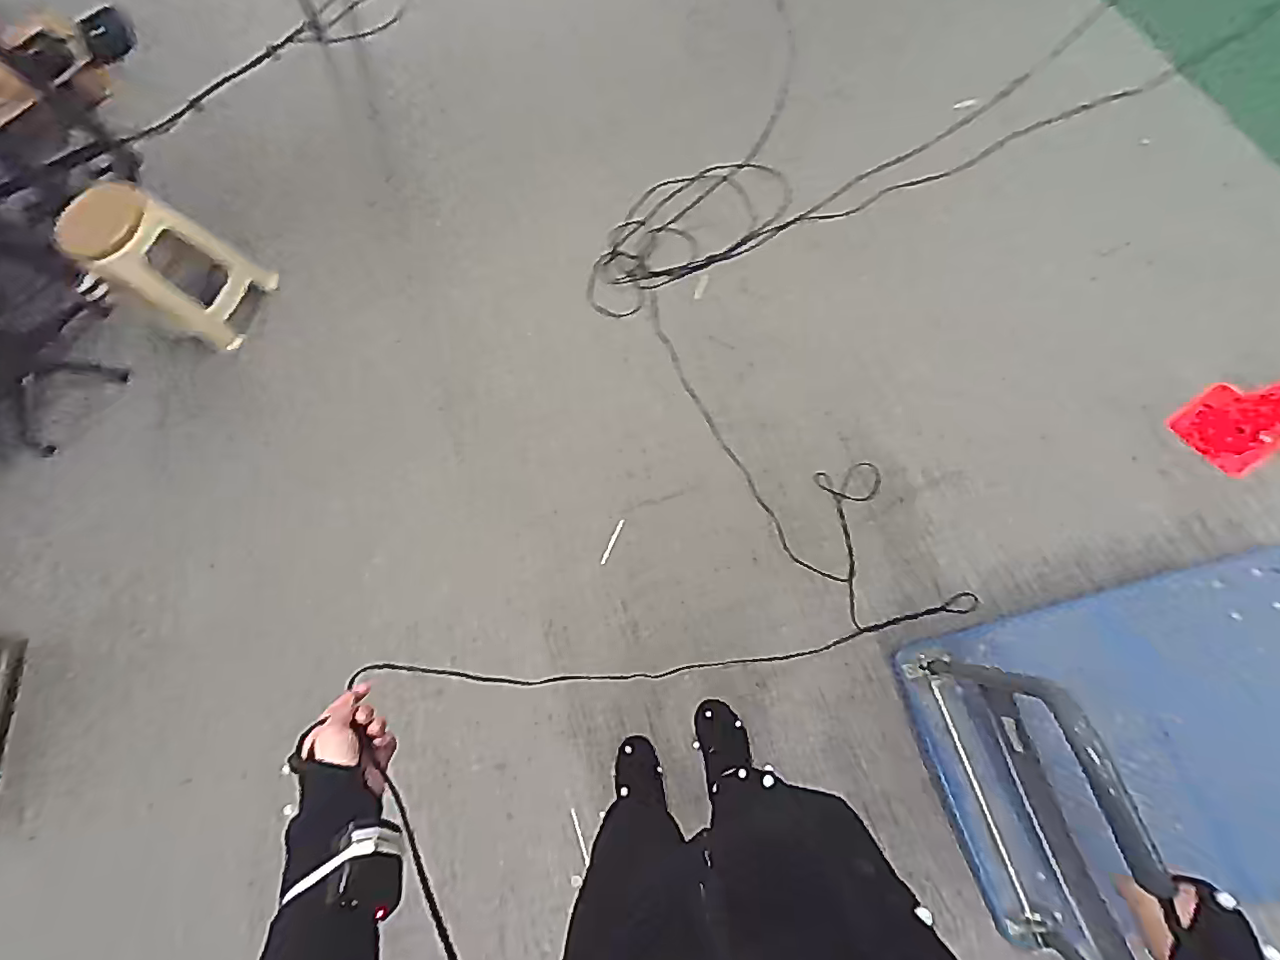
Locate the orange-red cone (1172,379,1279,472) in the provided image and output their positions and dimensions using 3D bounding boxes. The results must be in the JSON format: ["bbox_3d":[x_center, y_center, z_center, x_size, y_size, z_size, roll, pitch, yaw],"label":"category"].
[{"bbox_3d":[1.474,-0.191,1.218,0.198,0.360,0.199,-35,69,-3],"label":"orange-red cone"}]
